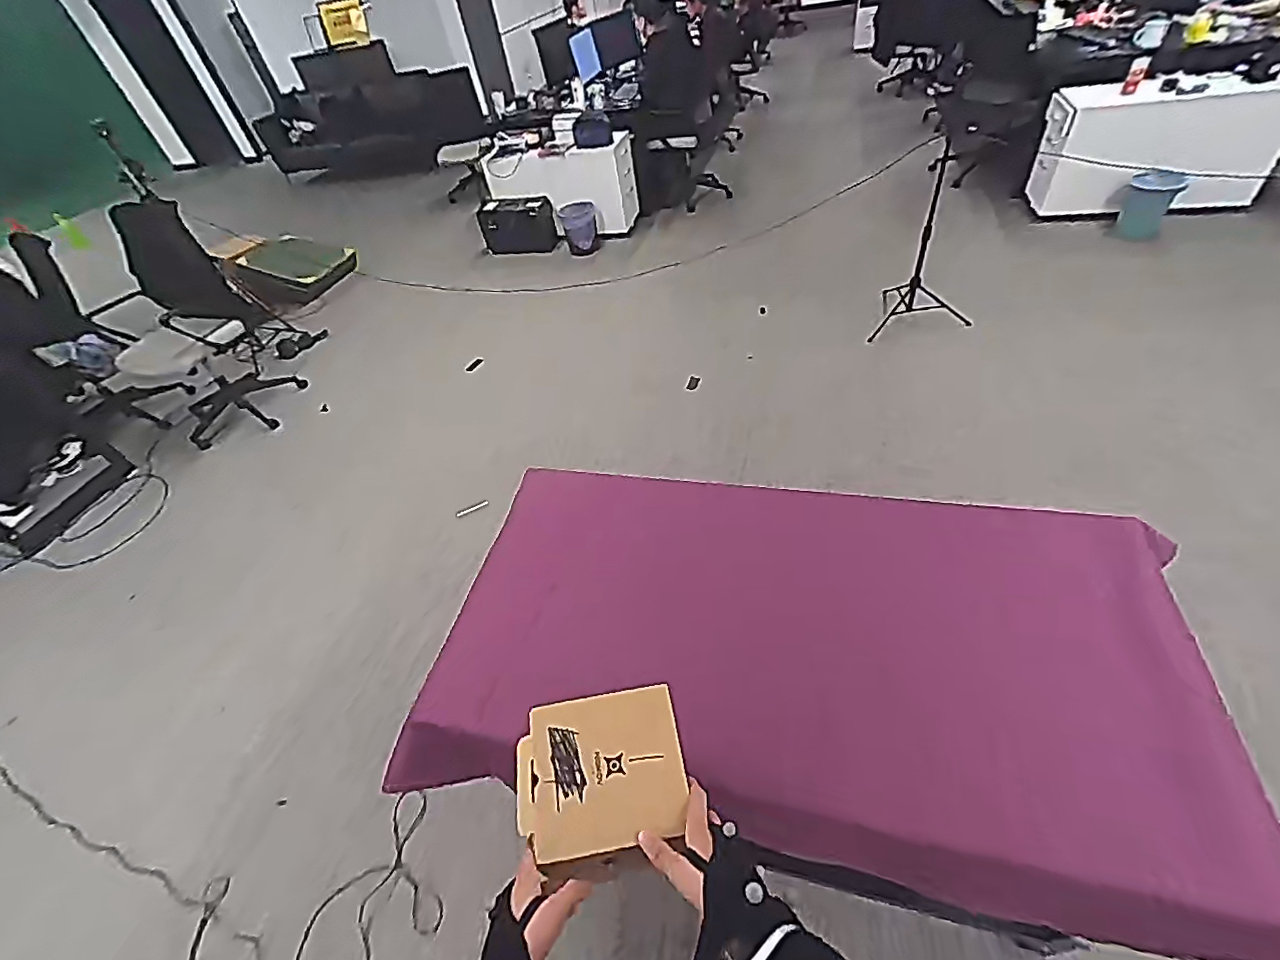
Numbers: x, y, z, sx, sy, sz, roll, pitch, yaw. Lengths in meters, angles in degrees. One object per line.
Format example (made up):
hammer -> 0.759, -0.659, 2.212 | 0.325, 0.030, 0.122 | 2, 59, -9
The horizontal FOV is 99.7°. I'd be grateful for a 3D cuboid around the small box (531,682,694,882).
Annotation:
small box -> -0.033, 0.380, 0.678 | 0.179, 0.176, 0.168 | -8, 46, -5
